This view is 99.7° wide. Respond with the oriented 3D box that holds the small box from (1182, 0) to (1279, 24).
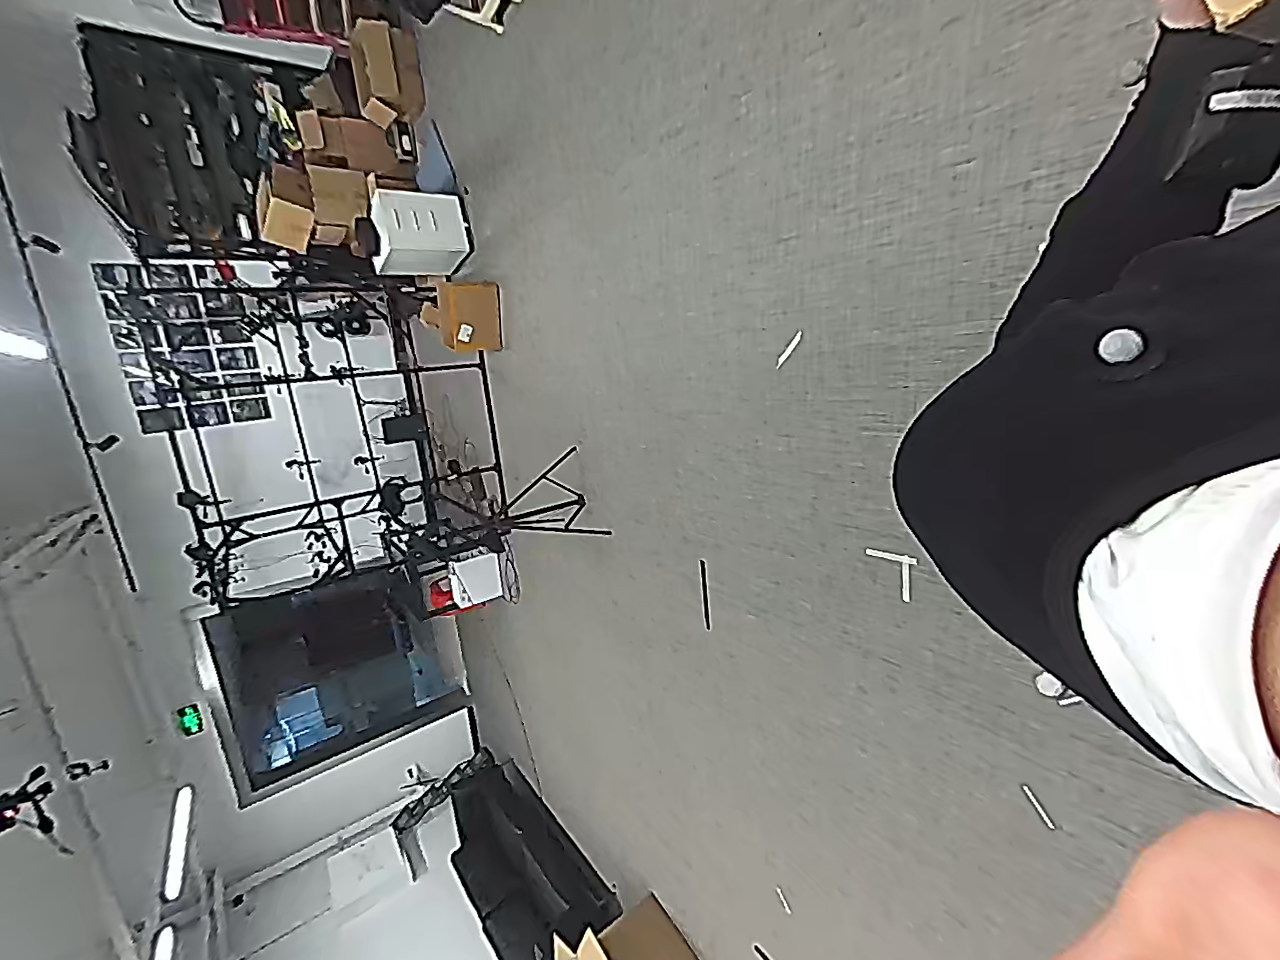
[{"bbox_3d":[0.306,-0.318,0.204,0.168,0.176,0.179,-23,93,60],"label":"small box"}]
